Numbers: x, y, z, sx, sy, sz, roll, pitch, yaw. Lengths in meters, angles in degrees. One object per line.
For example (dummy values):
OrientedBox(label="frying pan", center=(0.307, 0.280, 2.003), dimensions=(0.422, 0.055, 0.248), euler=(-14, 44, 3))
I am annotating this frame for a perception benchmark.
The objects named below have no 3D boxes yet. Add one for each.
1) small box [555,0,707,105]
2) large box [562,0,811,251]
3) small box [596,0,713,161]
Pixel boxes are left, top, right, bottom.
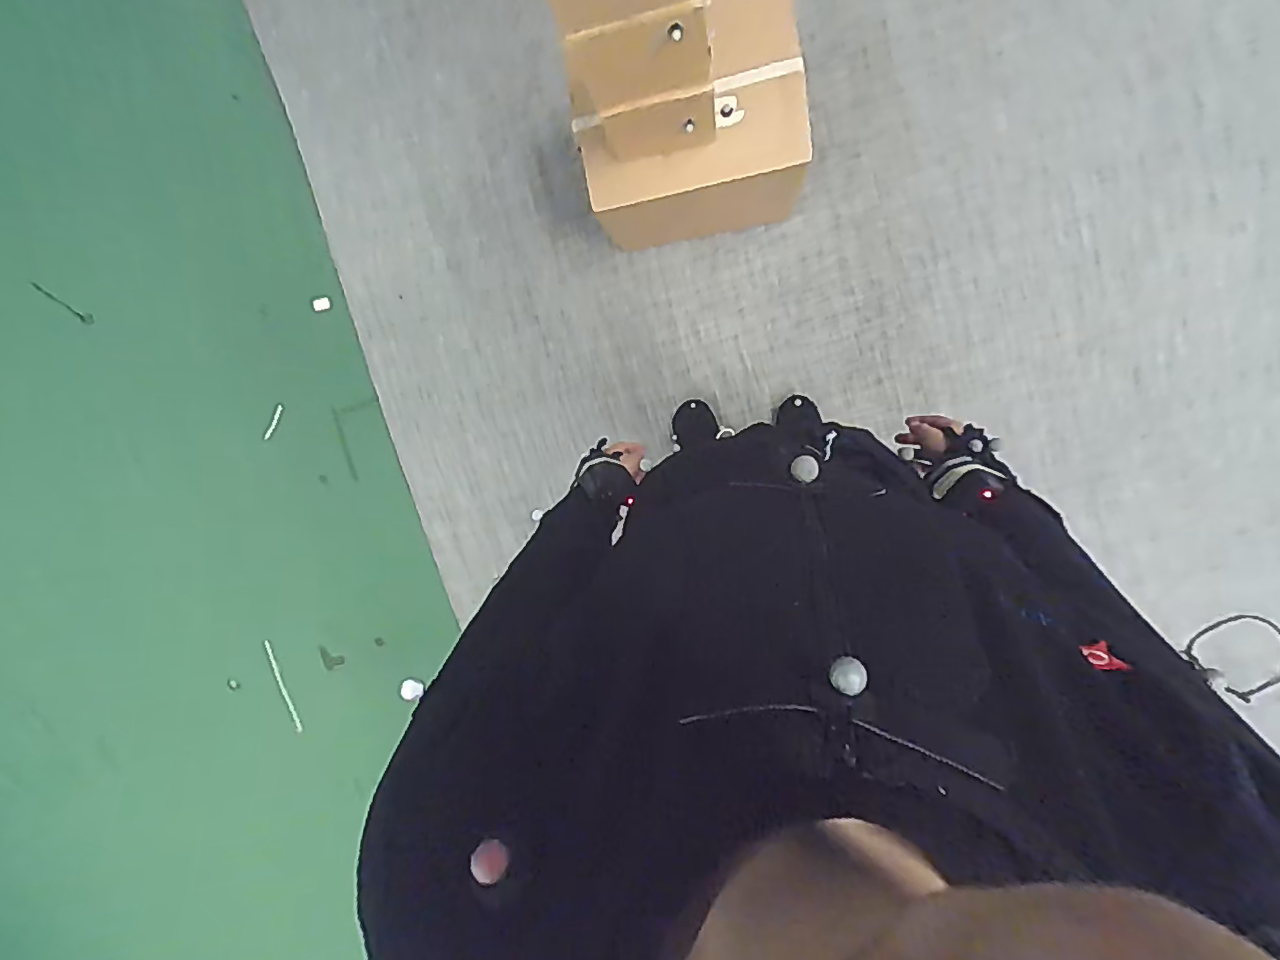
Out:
OrientedBox(label="small box", center=(-0.011, -0.634, 0.709), dimensions=(0.179, 0.176, 0.168), euler=(-8, 97, 9))
OrientedBox(label="large box", center=(0.098, -0.699, 1.096), dimensions=(0.408, 0.320, 0.320), euler=(-9, 99, 9))
OrientedBox(label="small box", center=(0.022, -0.647, 0.868), dimensions=(0.179, 0.176, 0.168), euler=(-7, 97, 11))
